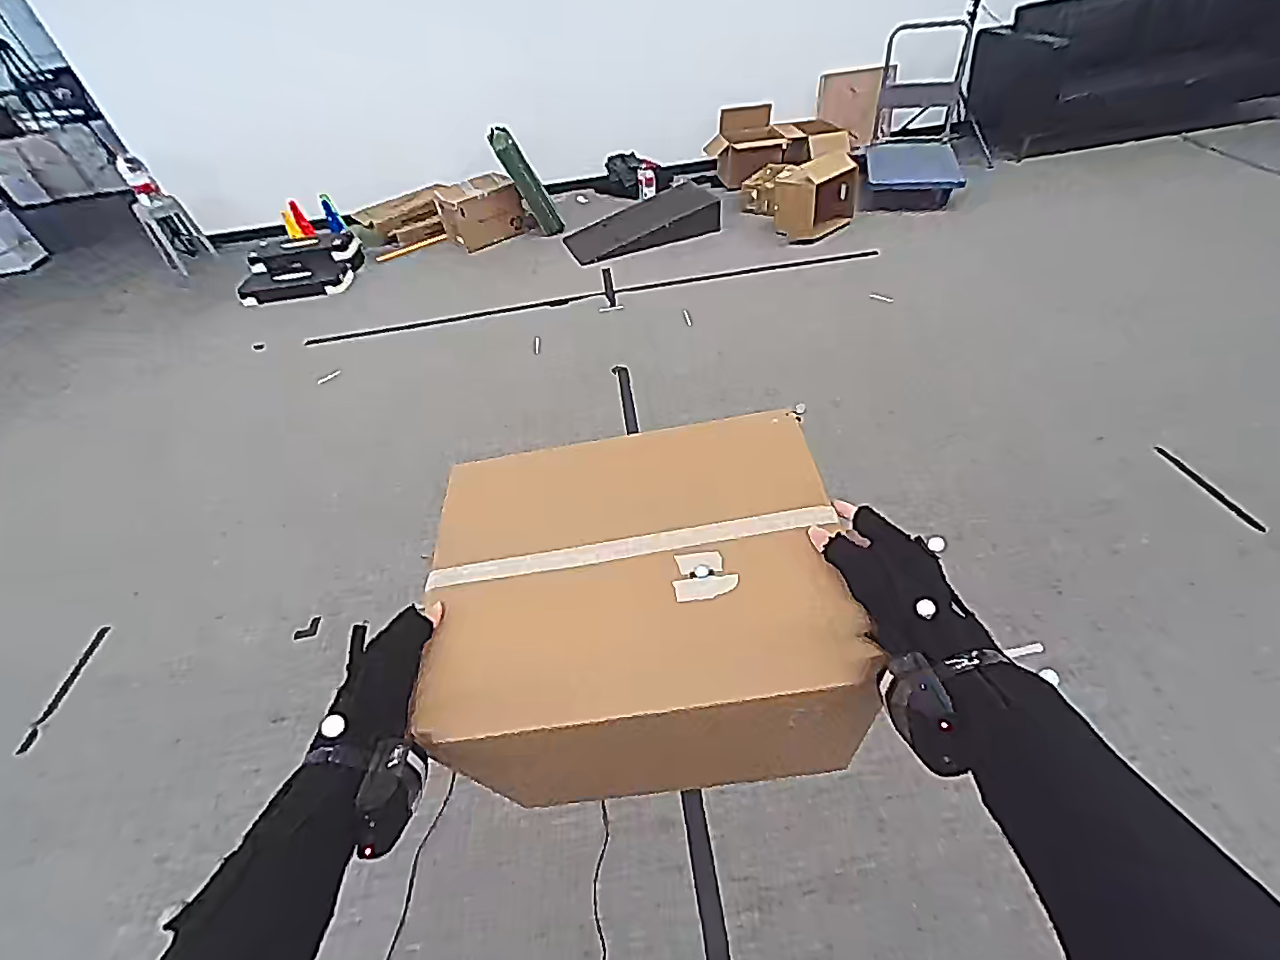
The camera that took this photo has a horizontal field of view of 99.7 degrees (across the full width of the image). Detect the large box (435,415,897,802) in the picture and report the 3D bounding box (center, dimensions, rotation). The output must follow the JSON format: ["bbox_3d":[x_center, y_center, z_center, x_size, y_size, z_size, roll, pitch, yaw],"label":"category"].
[{"bbox_3d":[0.024,0.165,0.658,0.408,0.320,0.320,-9,50,3],"label":"large box"}]
